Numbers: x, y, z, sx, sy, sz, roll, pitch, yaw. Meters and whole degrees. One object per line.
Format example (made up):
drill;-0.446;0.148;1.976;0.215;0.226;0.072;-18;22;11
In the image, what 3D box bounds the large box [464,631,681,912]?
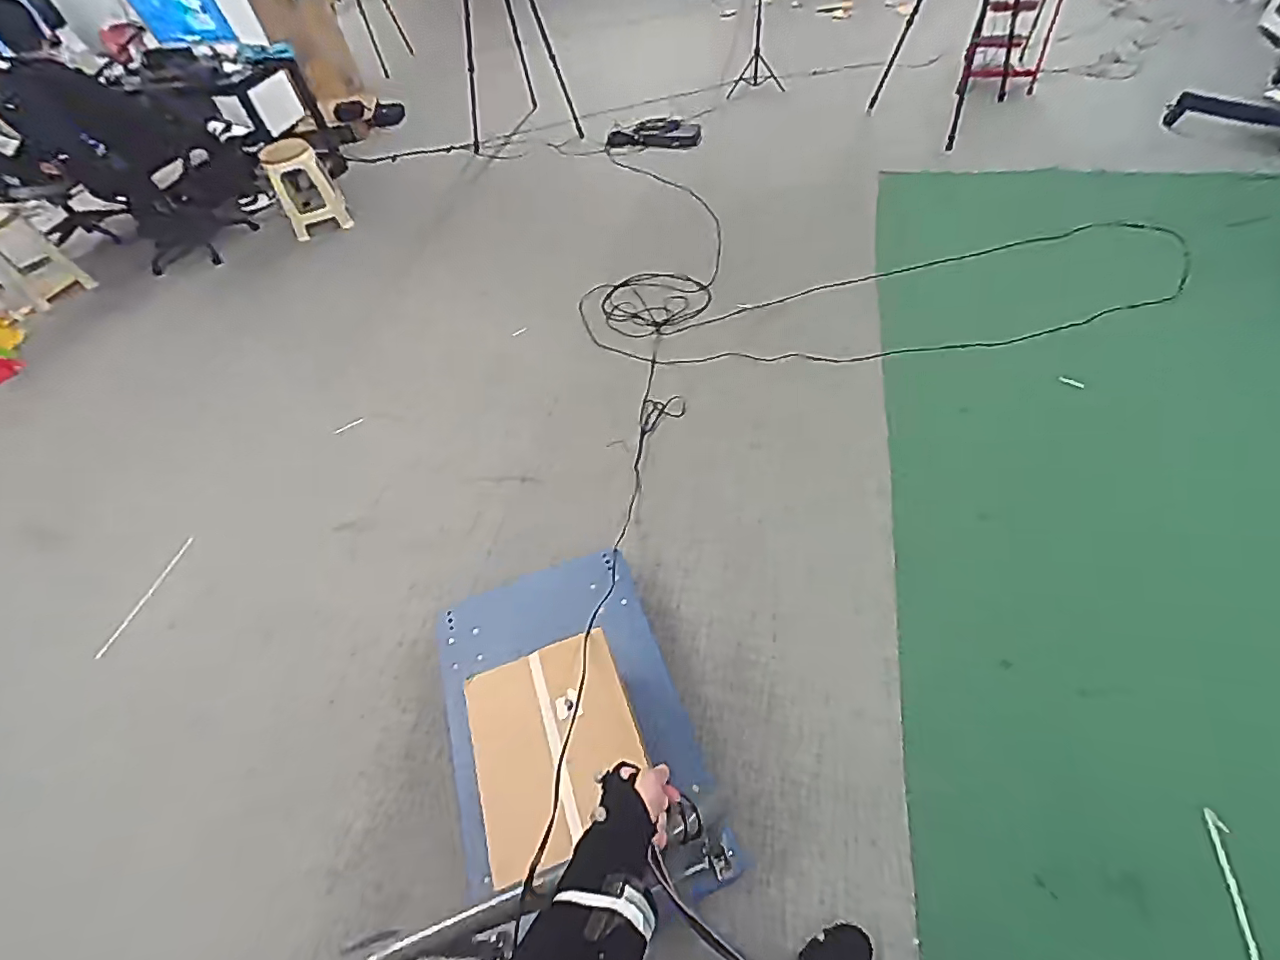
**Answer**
large box;-0.137;0.608;1.143;0.320;0.320;0.408;-20;52;-8
